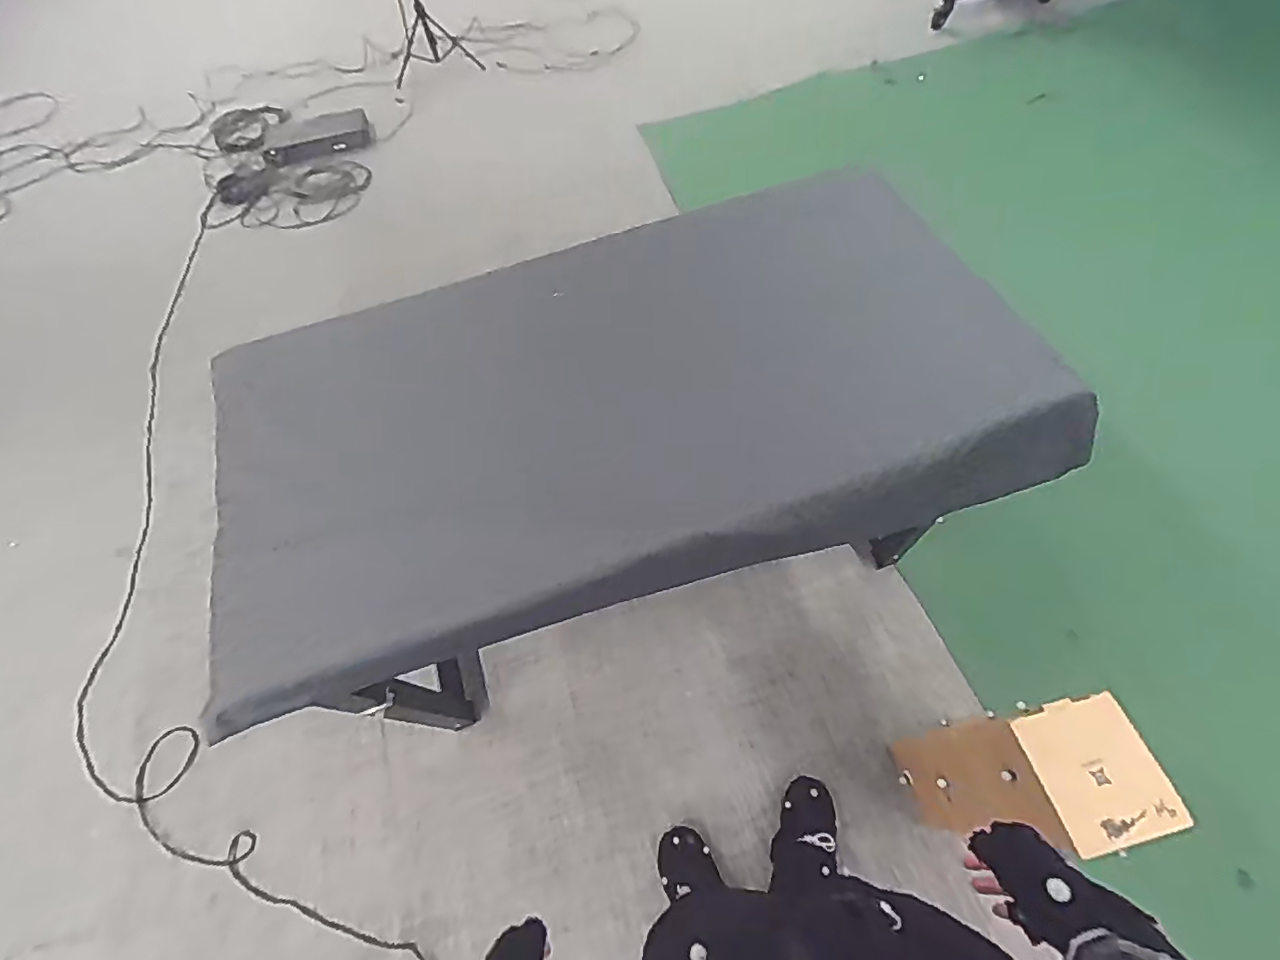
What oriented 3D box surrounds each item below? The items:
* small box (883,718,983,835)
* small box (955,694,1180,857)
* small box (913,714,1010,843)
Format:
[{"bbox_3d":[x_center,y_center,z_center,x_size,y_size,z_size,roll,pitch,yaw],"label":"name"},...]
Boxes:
[{"bbox_3d":[0.637,0.603,1.111,0.179,0.176,0.168,-16,61,-3],"label":"small box"},{"bbox_3d":[0.625,0.448,0.823,0.168,0.176,0.179,-14,60,-3],"label":"small box"},{"bbox_3d":[0.630,0.525,0.967,0.179,0.176,0.168,-15,61,-3],"label":"small box"}]
